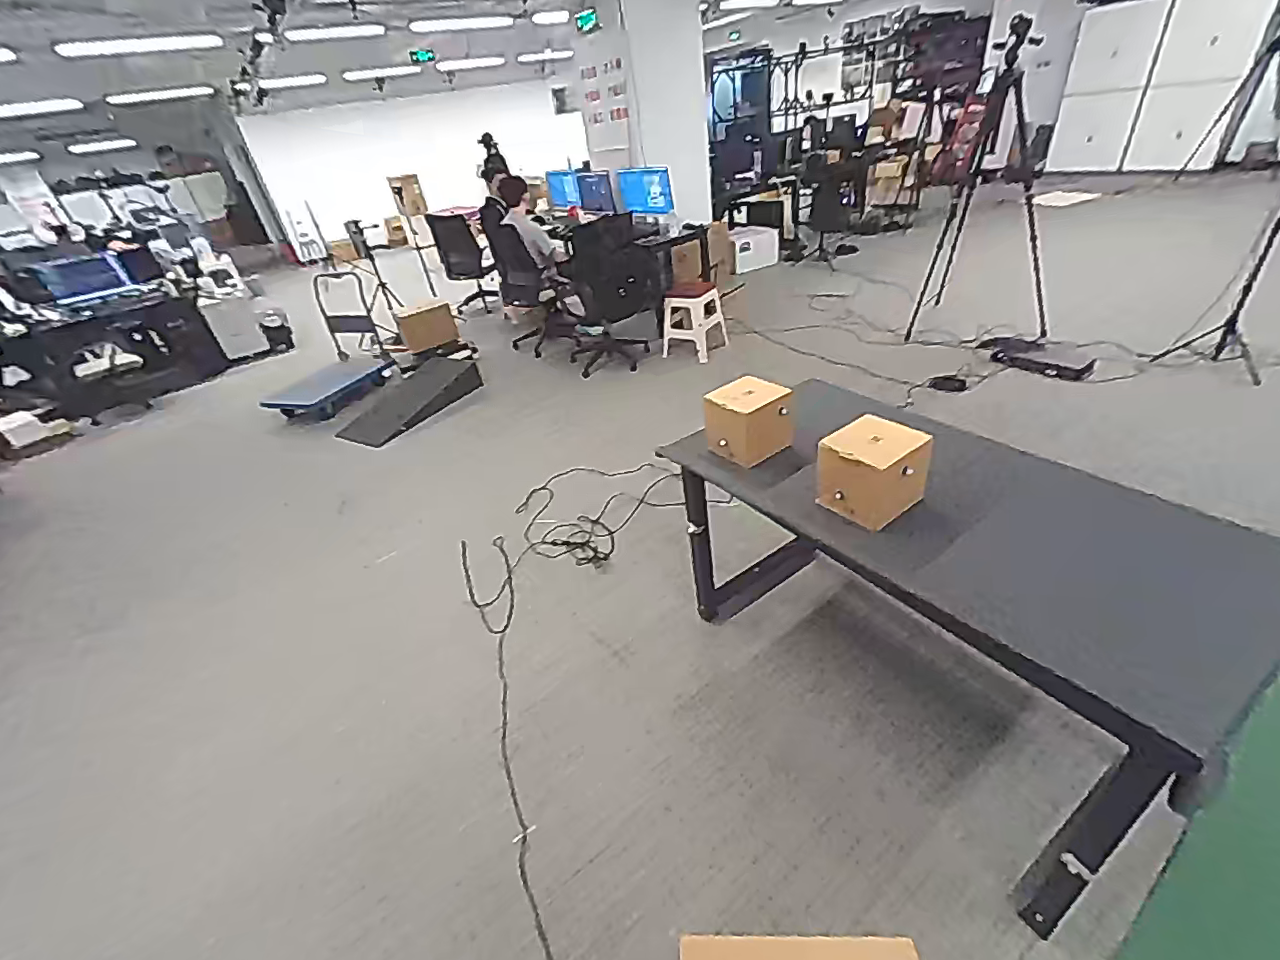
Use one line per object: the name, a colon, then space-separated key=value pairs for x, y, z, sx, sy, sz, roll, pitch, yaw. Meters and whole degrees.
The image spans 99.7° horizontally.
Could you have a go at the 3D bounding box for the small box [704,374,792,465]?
small box: x=0.293 y=-0.169 z=1.485 sx=0.179 sy=0.176 sz=0.168 roll=-27 pitch=38 yaw=-26

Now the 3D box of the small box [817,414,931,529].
small box: x=0.518 y=-0.021 z=1.224 sx=0.179 sy=0.176 sz=0.168 roll=-27 pitch=38 yaw=-25
